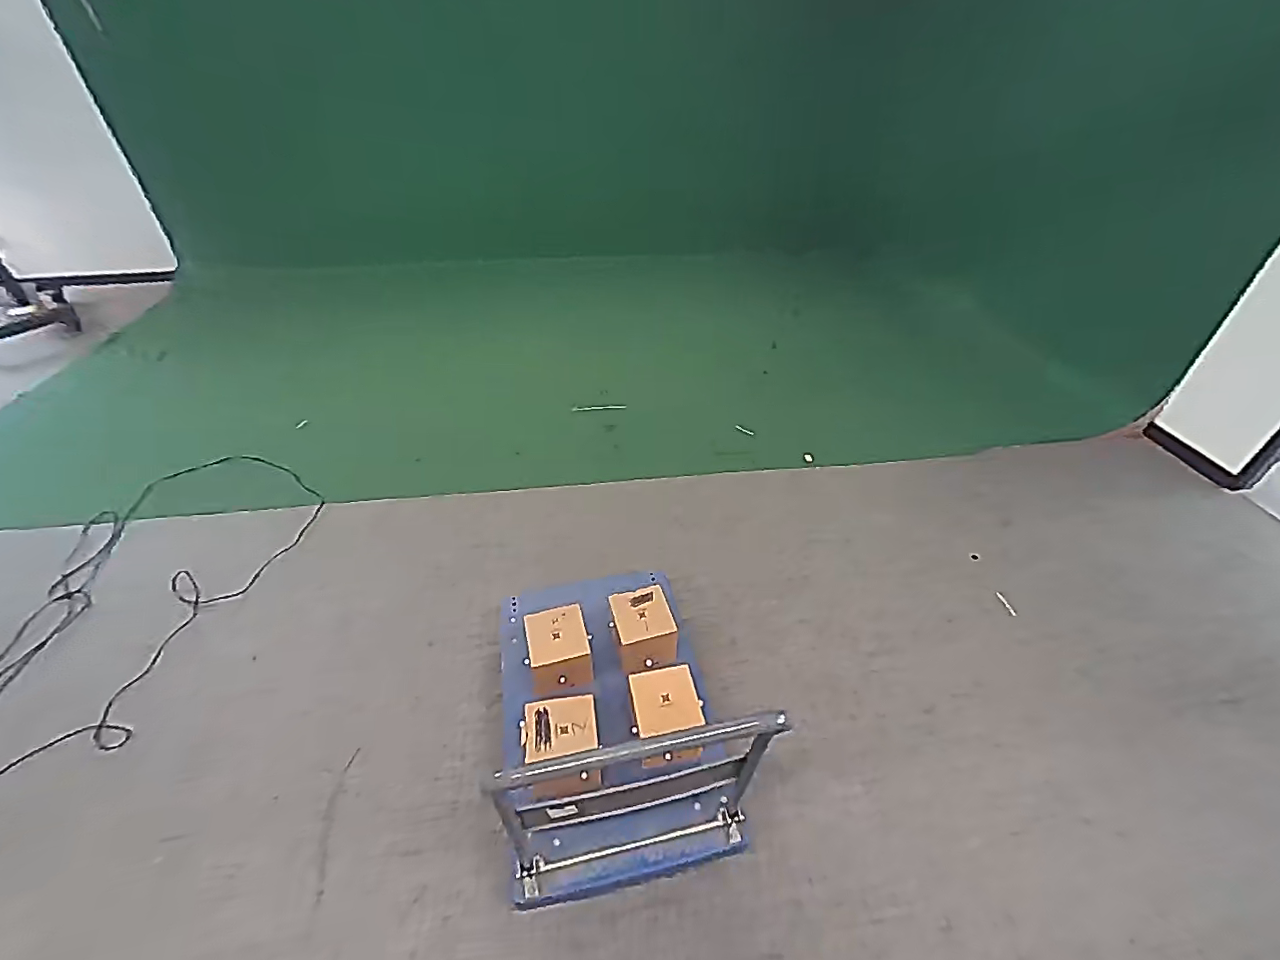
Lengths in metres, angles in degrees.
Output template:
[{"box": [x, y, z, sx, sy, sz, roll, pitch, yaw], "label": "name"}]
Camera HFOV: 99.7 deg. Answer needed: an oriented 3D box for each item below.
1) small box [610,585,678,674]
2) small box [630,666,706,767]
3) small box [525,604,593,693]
[{"box": [0.007, 0.450, 1.629, 0.168, 0.176, 0.179, -11, 43, -12], "label": "small box"}, {"box": [0.066, 0.624, 1.430, 0.168, 0.176, 0.179, -7, 42, -9], "label": "small box"}, {"box": [-0.235, 0.497, 1.575, 0.168, 0.176, 0.179, -9, 42, -13], "label": "small box"}]
